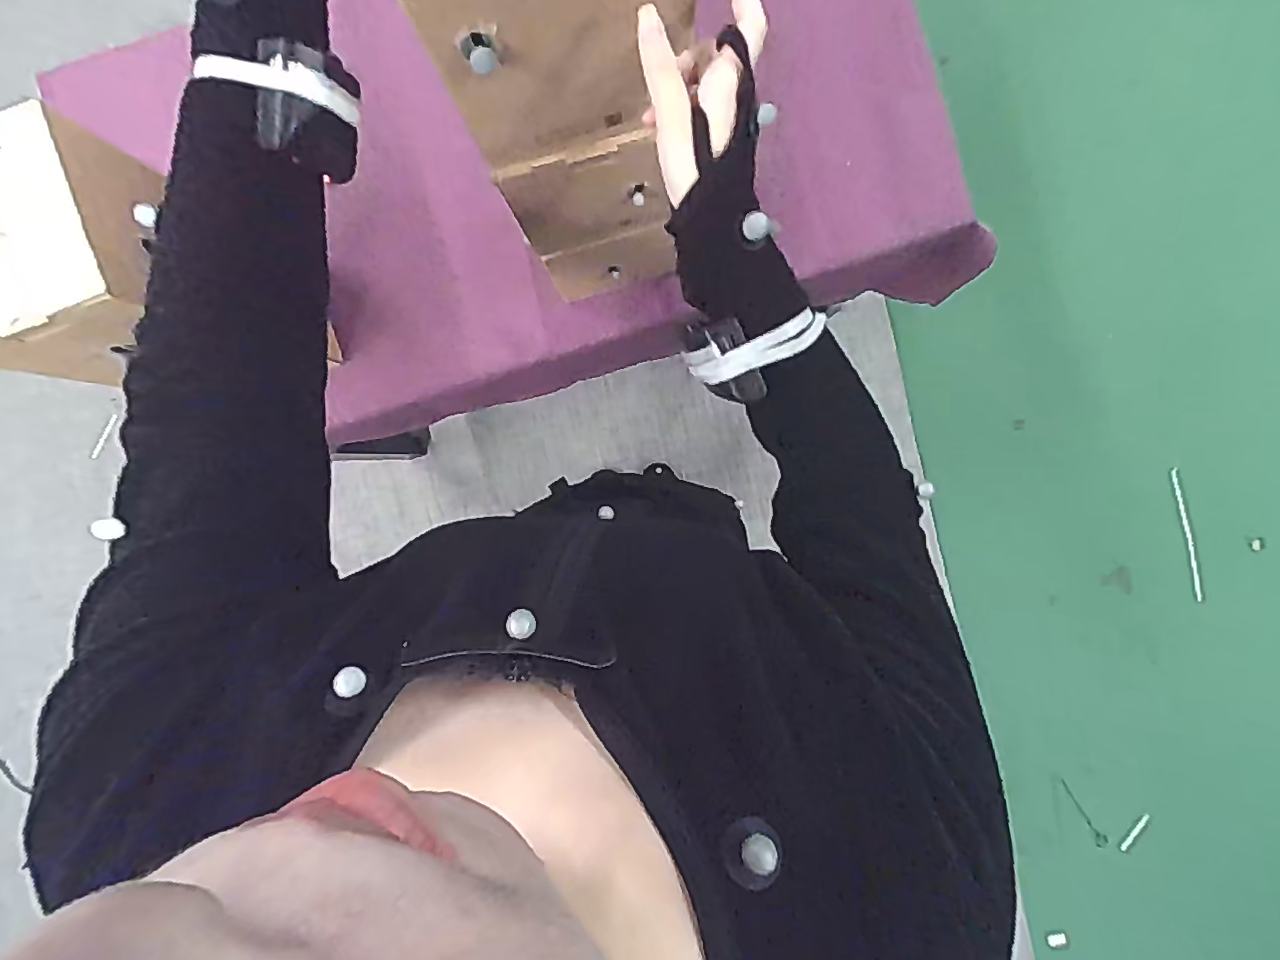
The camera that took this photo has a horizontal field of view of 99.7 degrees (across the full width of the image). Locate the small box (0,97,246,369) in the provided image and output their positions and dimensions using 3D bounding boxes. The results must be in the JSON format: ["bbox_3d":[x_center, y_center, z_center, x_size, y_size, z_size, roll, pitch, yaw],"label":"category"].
[{"bbox_3d":[-0.545,-0.219,0.538,0.168,0.176,0.179,-19,92,1],"label":"small box"}]

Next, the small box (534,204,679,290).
[{"bbox_3d":[-0.051,-0.356,0.680,0.168,0.176,0.179,-15,91,2],"label":"small box"}]

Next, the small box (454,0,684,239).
[{"bbox_3d":[-0.057,-0.354,0.517,0.168,0.176,0.179,-13,91,2],"label":"small box"}]
